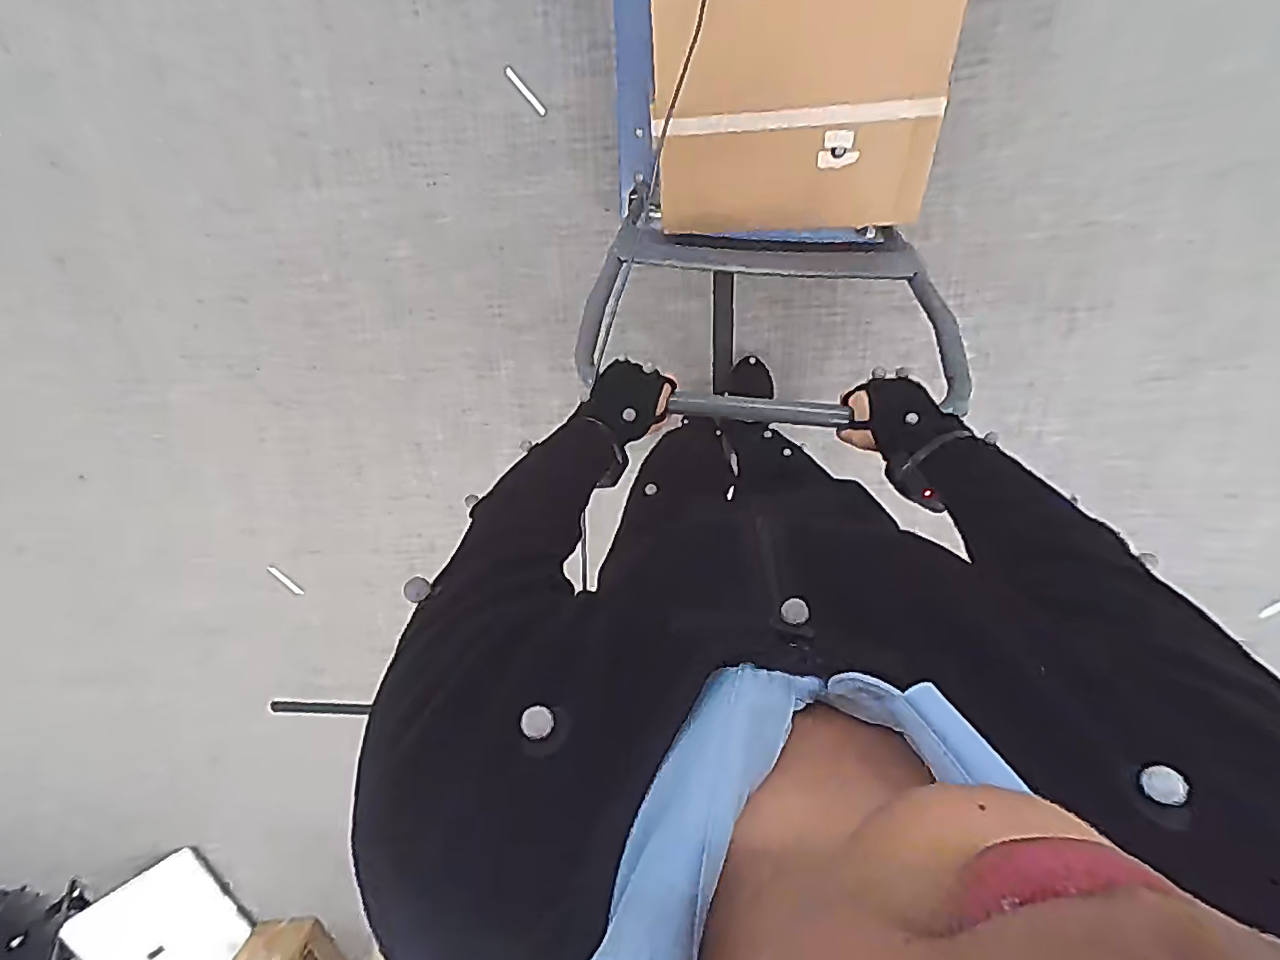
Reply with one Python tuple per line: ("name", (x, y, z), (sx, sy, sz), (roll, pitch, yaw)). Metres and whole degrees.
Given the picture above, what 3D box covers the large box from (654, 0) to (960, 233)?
("large box", (0.244, -0.632, 0.910), (0.408, 0.320, 0.320), (1, 130, 8))
